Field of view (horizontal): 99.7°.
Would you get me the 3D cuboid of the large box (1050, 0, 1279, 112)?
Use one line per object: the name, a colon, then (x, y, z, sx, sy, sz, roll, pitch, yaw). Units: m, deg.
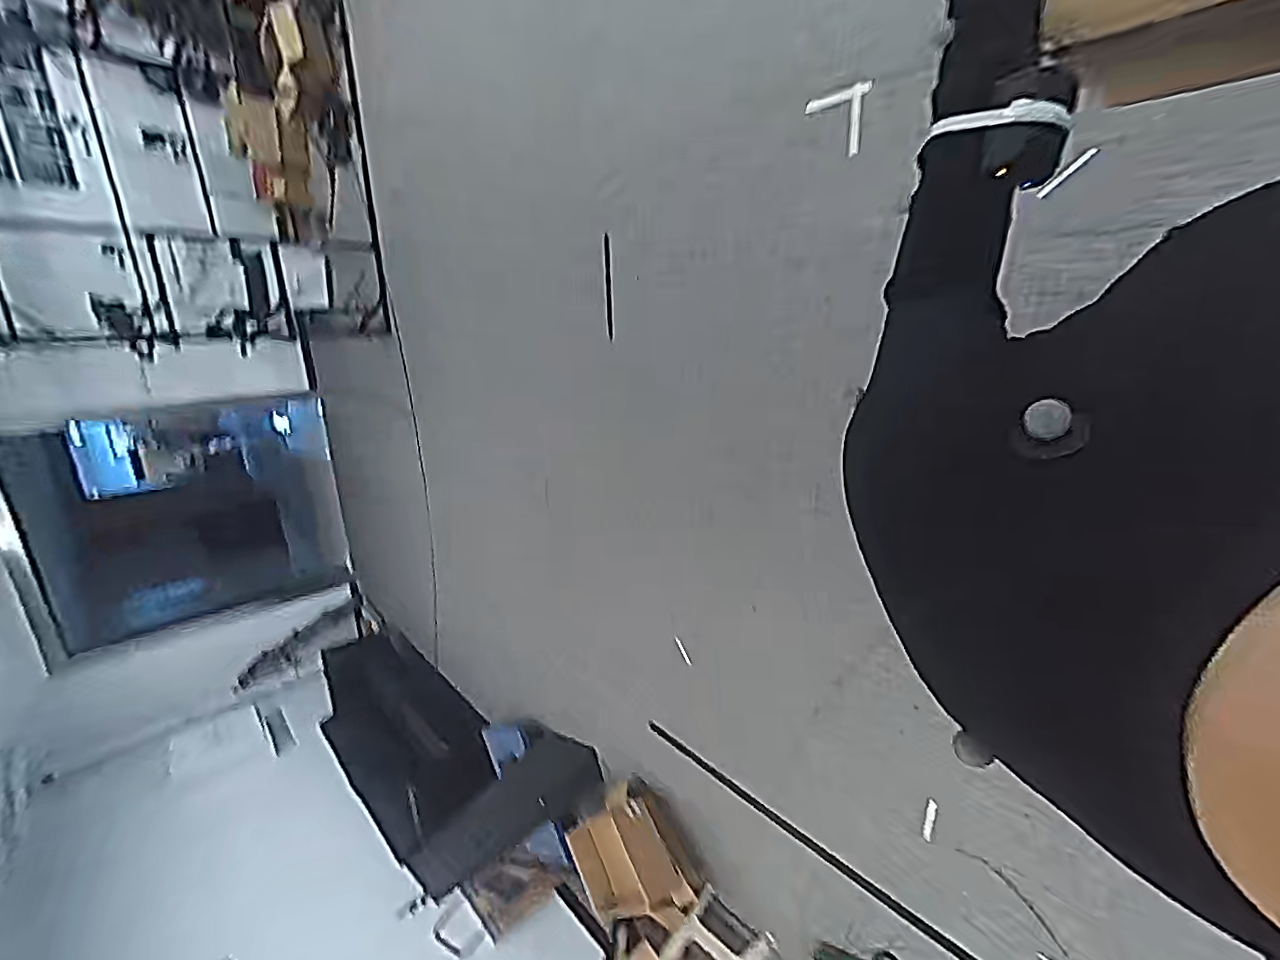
large box: (0.513, -0.457, 0.297, 0.408, 0.320, 0.320, 12, 118, 42)
